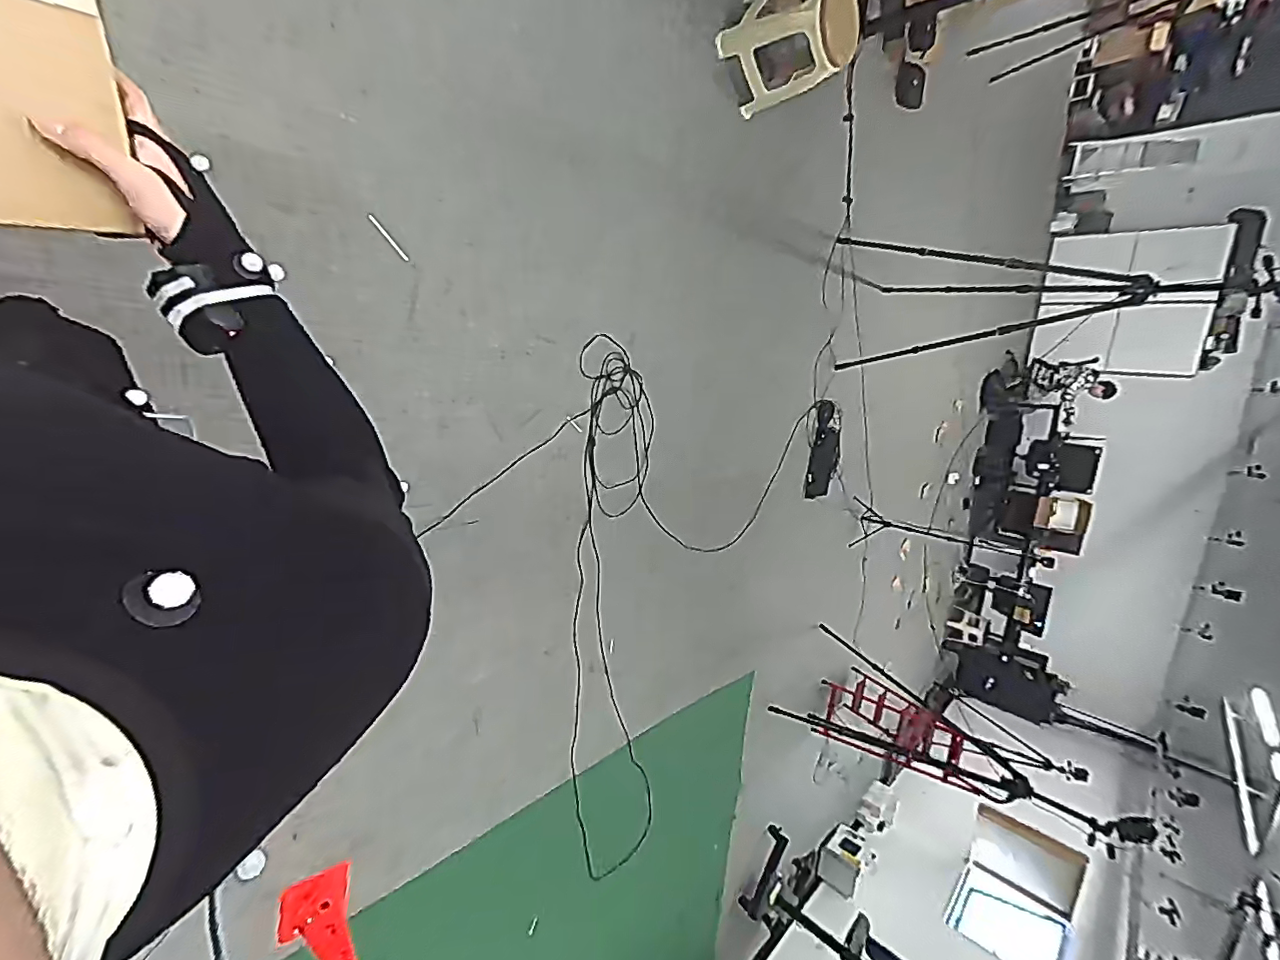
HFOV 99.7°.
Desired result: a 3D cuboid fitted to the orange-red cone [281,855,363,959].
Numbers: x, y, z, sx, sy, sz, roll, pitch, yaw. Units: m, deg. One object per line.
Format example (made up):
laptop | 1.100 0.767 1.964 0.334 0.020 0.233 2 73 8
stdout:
orange-red cone | -0.921 1.379 1.648 0.199 0.360 0.198 2 101 -49
